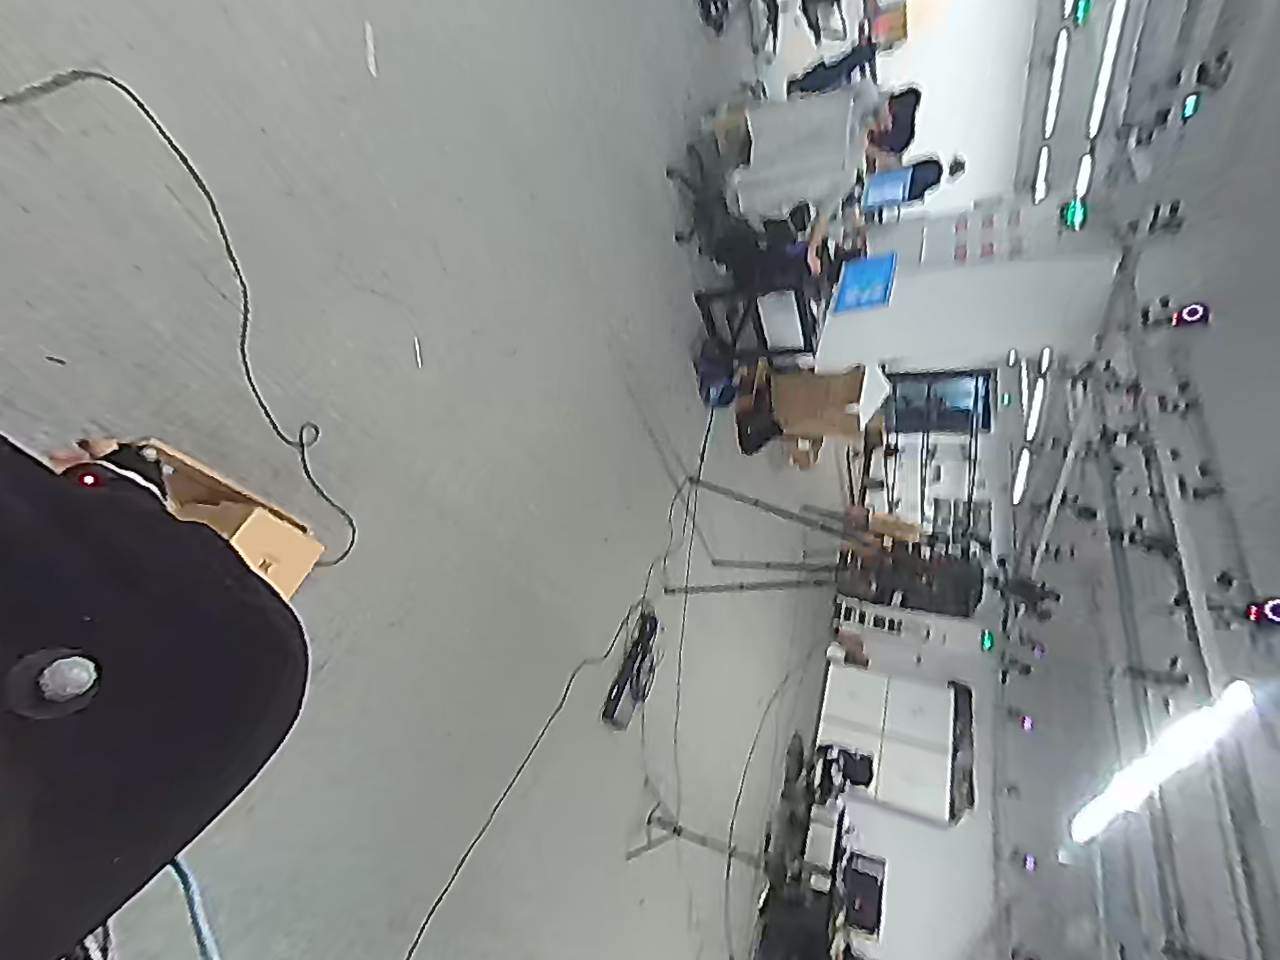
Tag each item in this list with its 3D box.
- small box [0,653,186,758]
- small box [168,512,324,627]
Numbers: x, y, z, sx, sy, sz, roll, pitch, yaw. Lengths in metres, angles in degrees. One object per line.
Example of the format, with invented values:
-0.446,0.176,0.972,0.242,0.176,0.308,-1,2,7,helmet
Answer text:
-1.055,0.454,1.045,0.168,0.176,0.179,56,45,-45,small box
-0.814,0.180,1.120,0.168,0.176,0.179,55,47,-44,small box
